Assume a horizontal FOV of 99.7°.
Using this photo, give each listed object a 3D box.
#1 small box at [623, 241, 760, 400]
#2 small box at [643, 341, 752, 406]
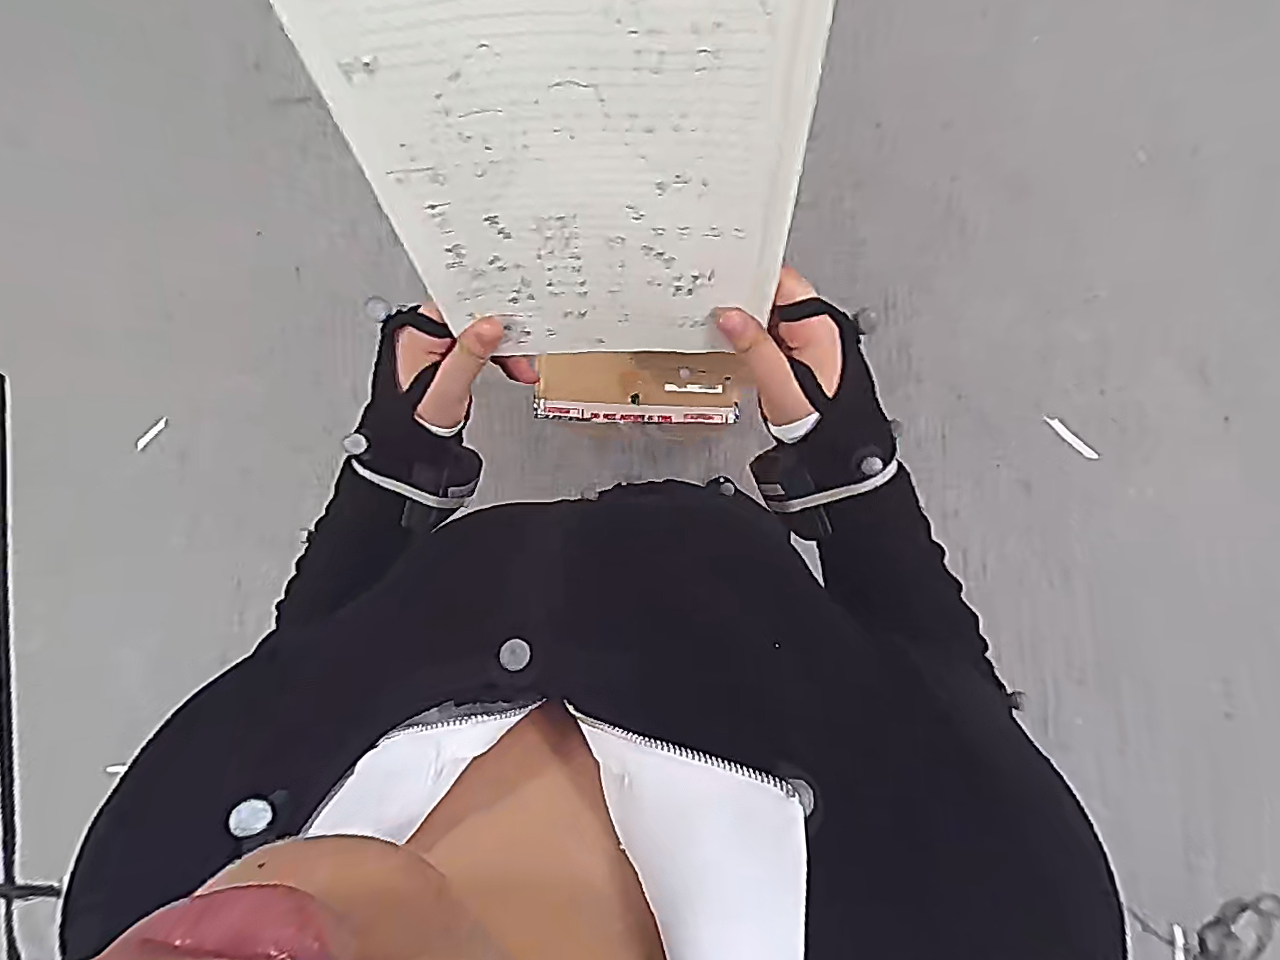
[{"bbox_3d":[0.068,-0.218,0.780,0.168,0.176,0.179,5,92,2],"label":"small box"},{"bbox_3d":[0.095,-0.222,0.943,0.179,0.176,0.168,1,91,3],"label":"small box"}]
